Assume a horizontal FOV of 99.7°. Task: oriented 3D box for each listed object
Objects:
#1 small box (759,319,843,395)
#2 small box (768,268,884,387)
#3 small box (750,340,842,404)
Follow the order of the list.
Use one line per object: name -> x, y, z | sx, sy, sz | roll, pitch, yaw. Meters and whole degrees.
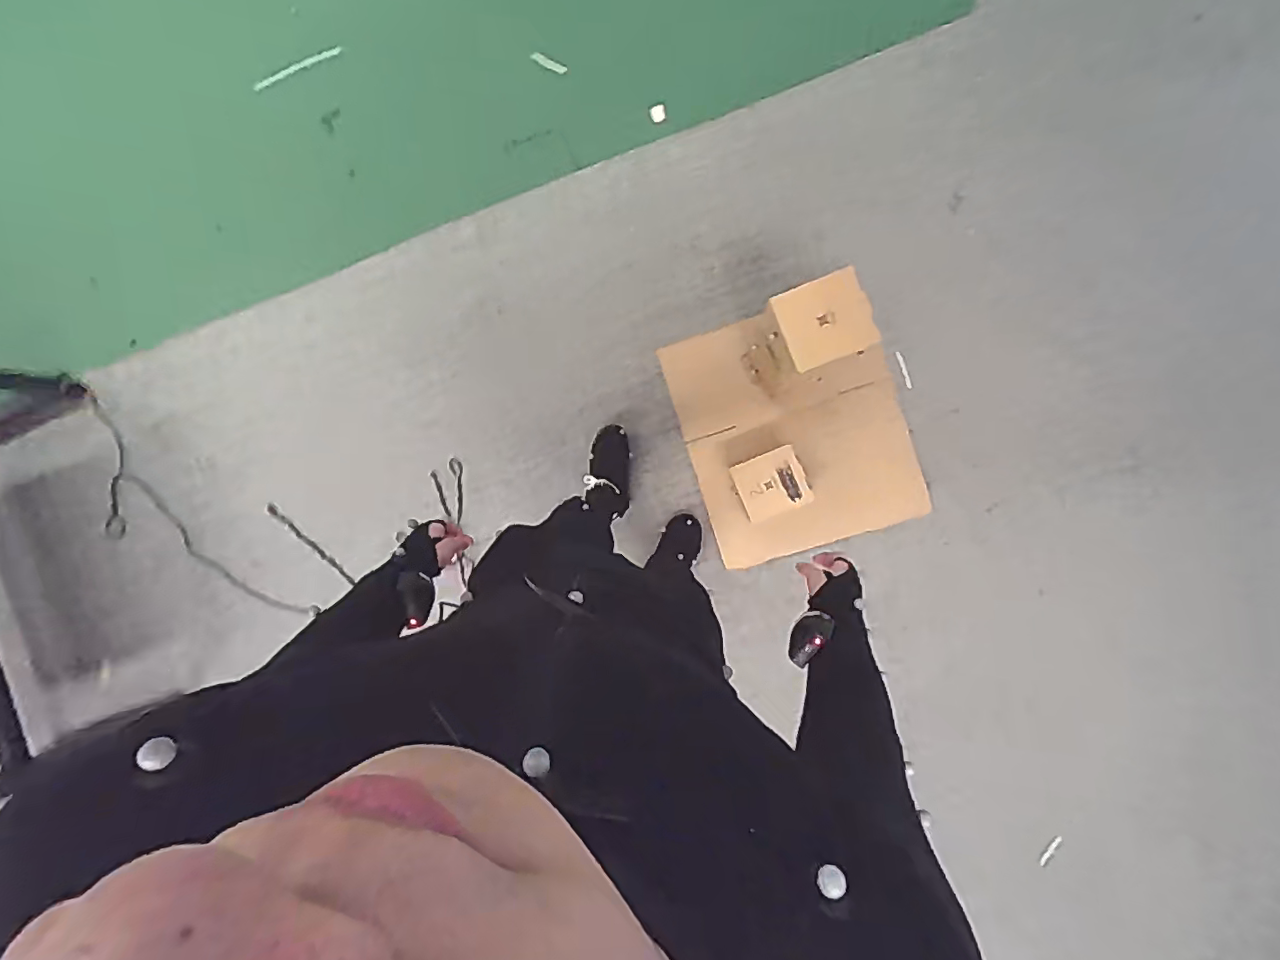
small box -> 0.397, -0.319, 1.309 | 0.179, 0.176, 0.168 | -21, 88, 6
small box -> 0.382, -0.312, 1.148 | 0.179, 0.176, 0.168 | -21, 88, 6
small box -> 0.416, -0.322, 1.472 | 0.179, 0.176, 0.168 | -25, 88, 7
